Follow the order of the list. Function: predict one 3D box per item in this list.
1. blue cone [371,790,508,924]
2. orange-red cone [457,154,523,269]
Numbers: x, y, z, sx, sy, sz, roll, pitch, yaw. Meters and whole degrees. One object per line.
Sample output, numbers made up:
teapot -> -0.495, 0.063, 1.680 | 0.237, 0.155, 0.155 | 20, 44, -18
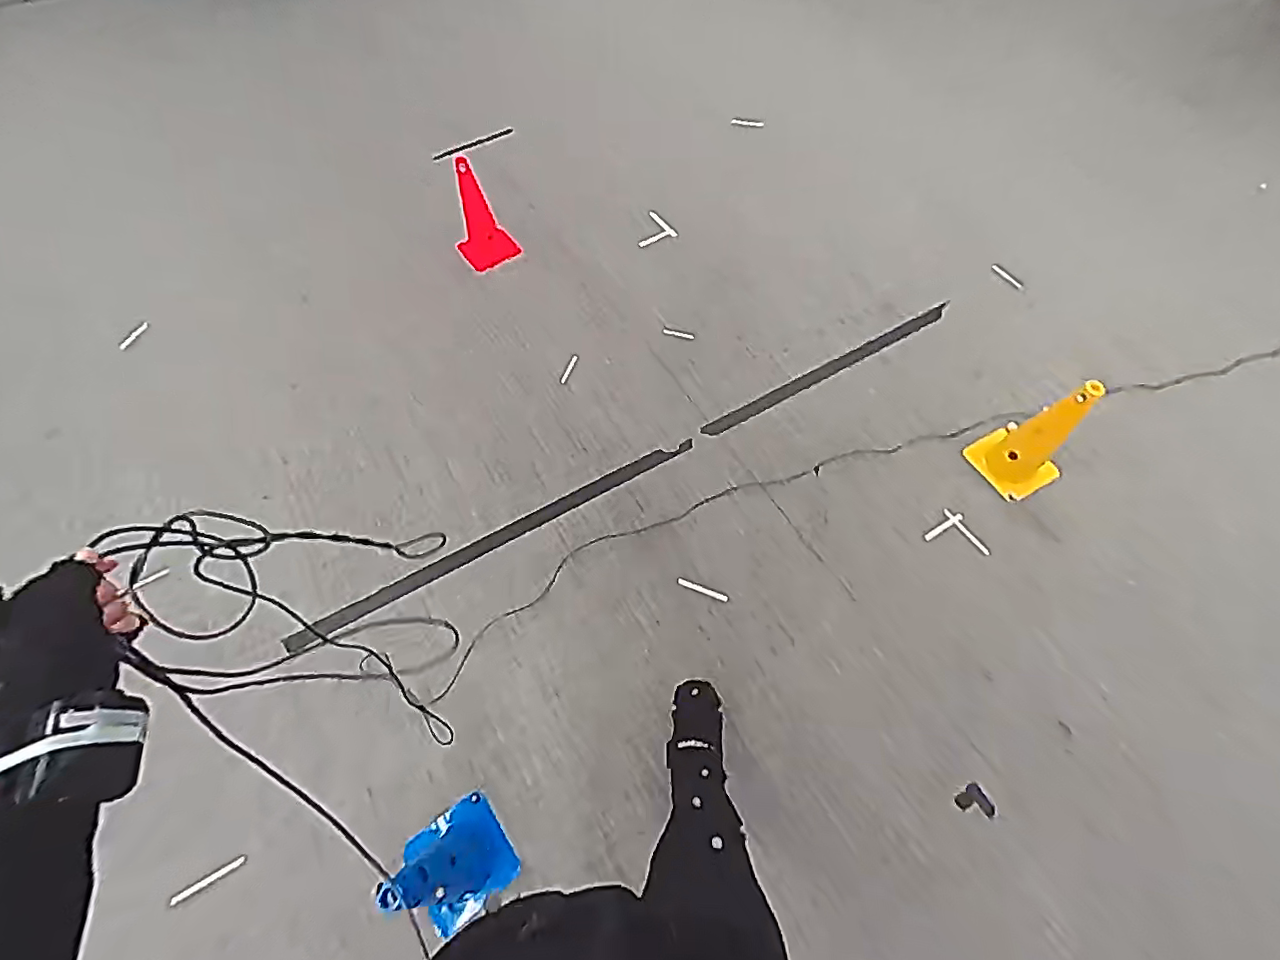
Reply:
blue cone -> -0.401, 0.731, 1.017 | 0.193, 0.380, 0.192 | -32, 65, -14
orange-red cone -> -0.583, -0.984, 1.945 | 0.199, 0.360, 0.198 | -32, 65, -13
